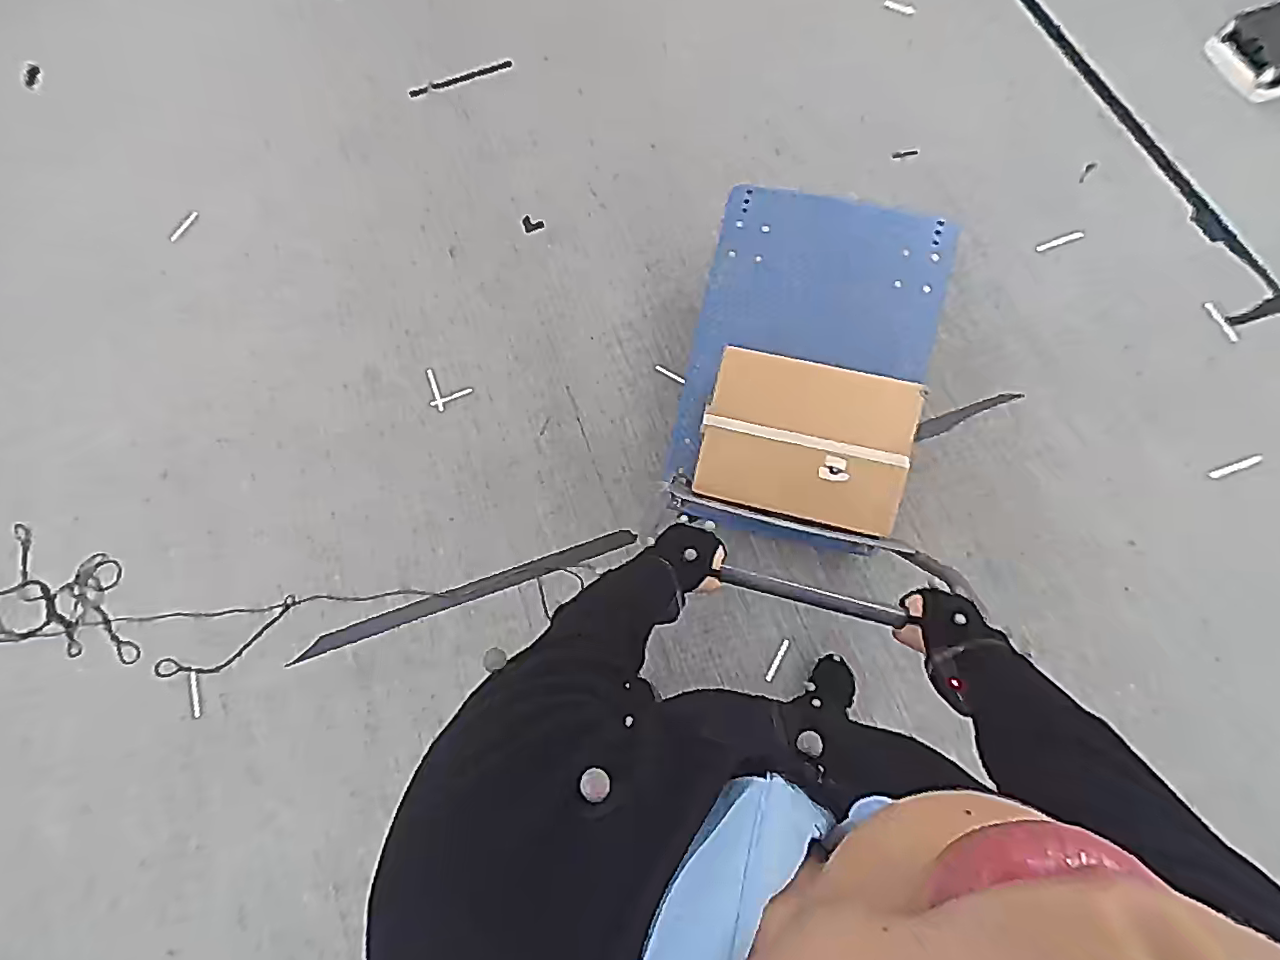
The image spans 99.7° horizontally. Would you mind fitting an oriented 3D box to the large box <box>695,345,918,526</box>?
[{"bbox_3d":[0.351,-0.093,1.254,0.408,0.320,0.320,12,92,6],"label":"large box"}]
